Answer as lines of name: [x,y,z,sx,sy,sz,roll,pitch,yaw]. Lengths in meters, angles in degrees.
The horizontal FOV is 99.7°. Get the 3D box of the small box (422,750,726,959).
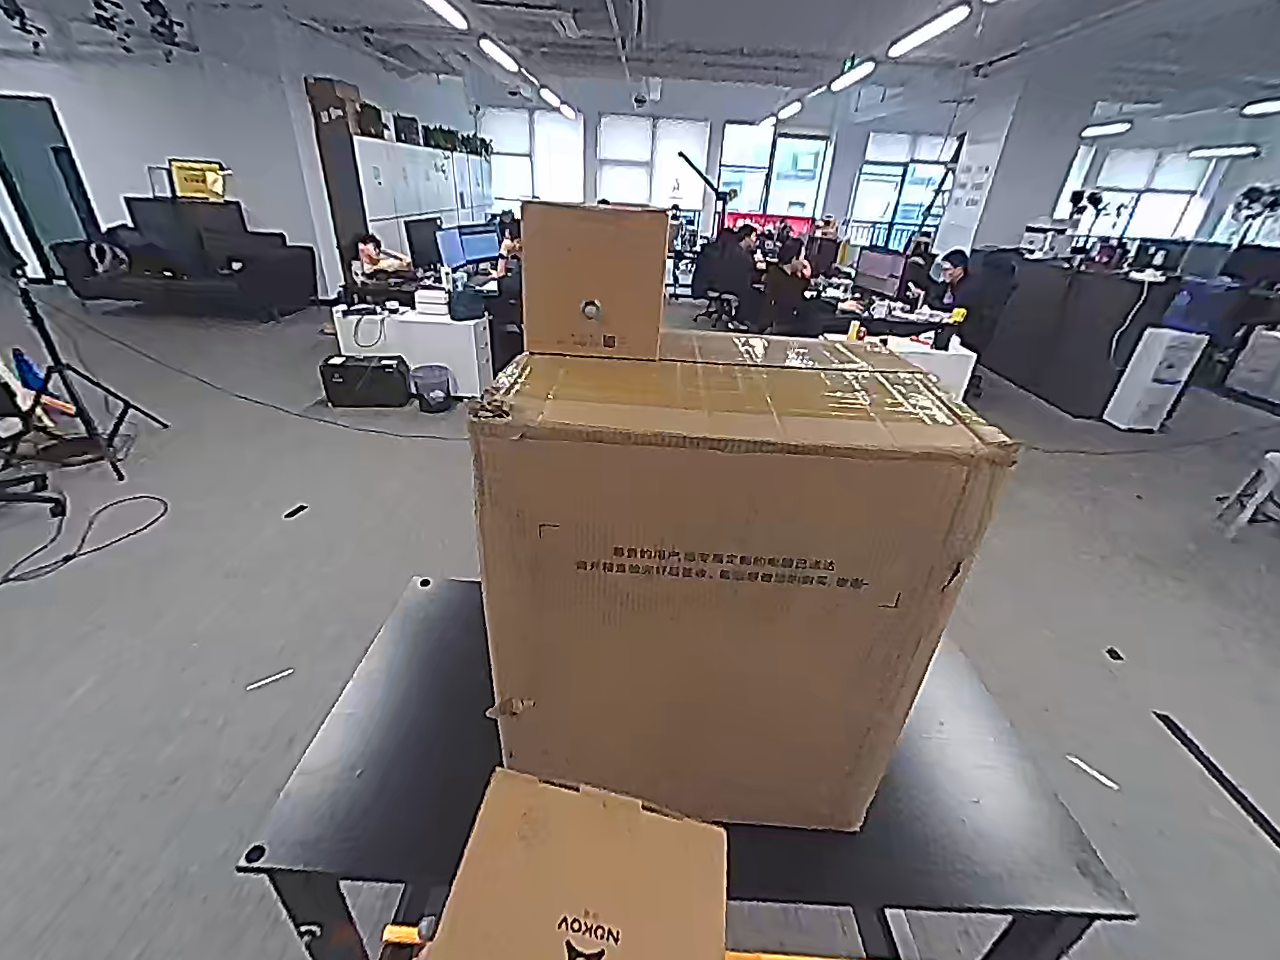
small box: [-0.050,0.315,0.350,0.168,0.176,0.179,15,39,-2]

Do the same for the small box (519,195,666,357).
small box: [-0.058,-0.266,0.702,0.168,0.176,0.179,3,27,-2]
